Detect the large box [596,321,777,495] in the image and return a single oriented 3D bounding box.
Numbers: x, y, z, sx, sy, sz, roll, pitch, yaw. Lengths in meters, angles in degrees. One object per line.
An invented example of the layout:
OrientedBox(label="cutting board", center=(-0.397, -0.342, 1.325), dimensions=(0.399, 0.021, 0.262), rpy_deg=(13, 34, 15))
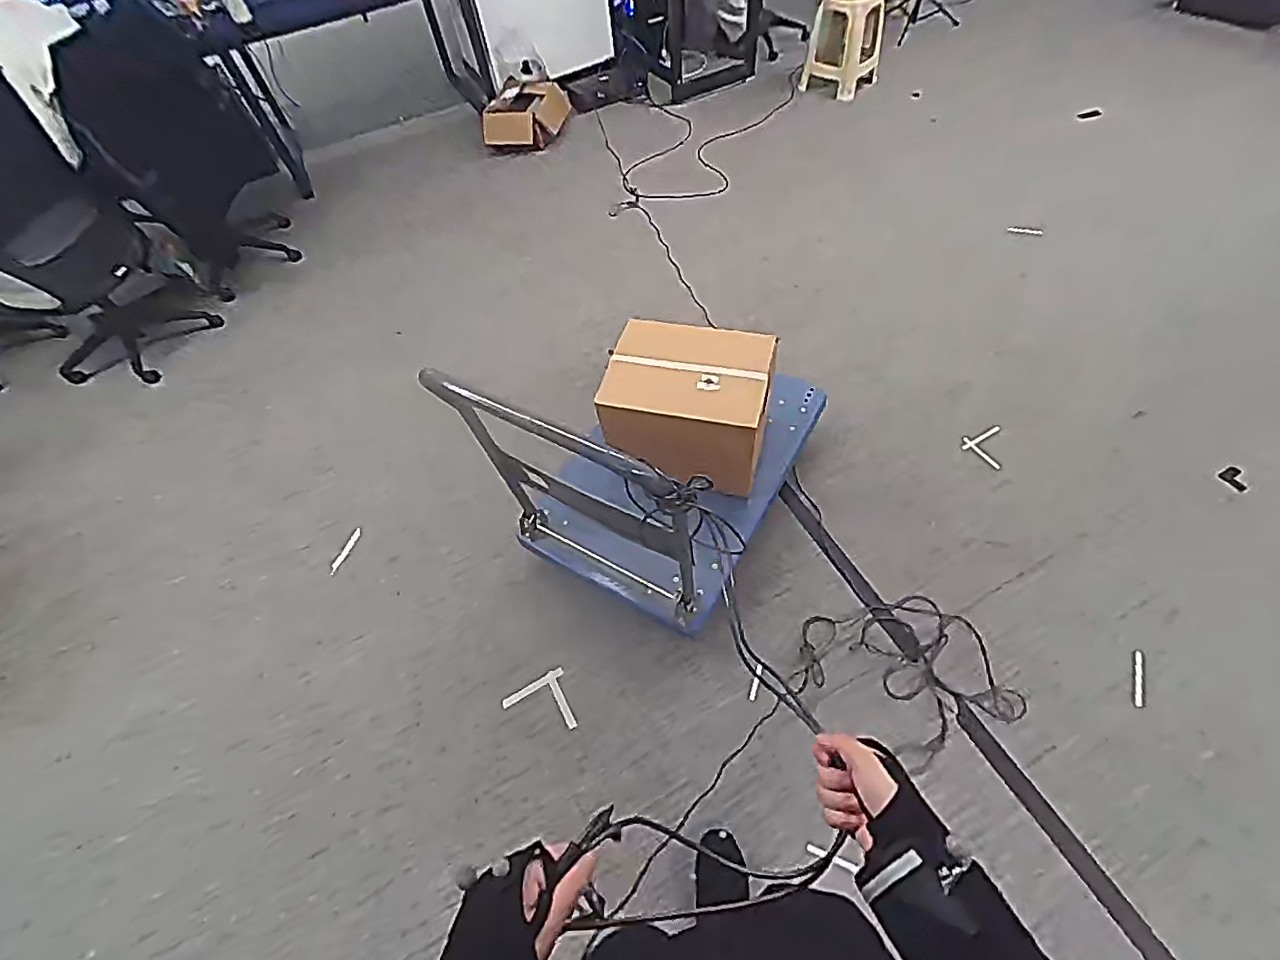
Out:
OrientedBox(label="large box", center=(0.133, -0.192, 1.470), dimensions=(0.408, 0.320, 0.320), rpy_deg=(11, 60, 13))
